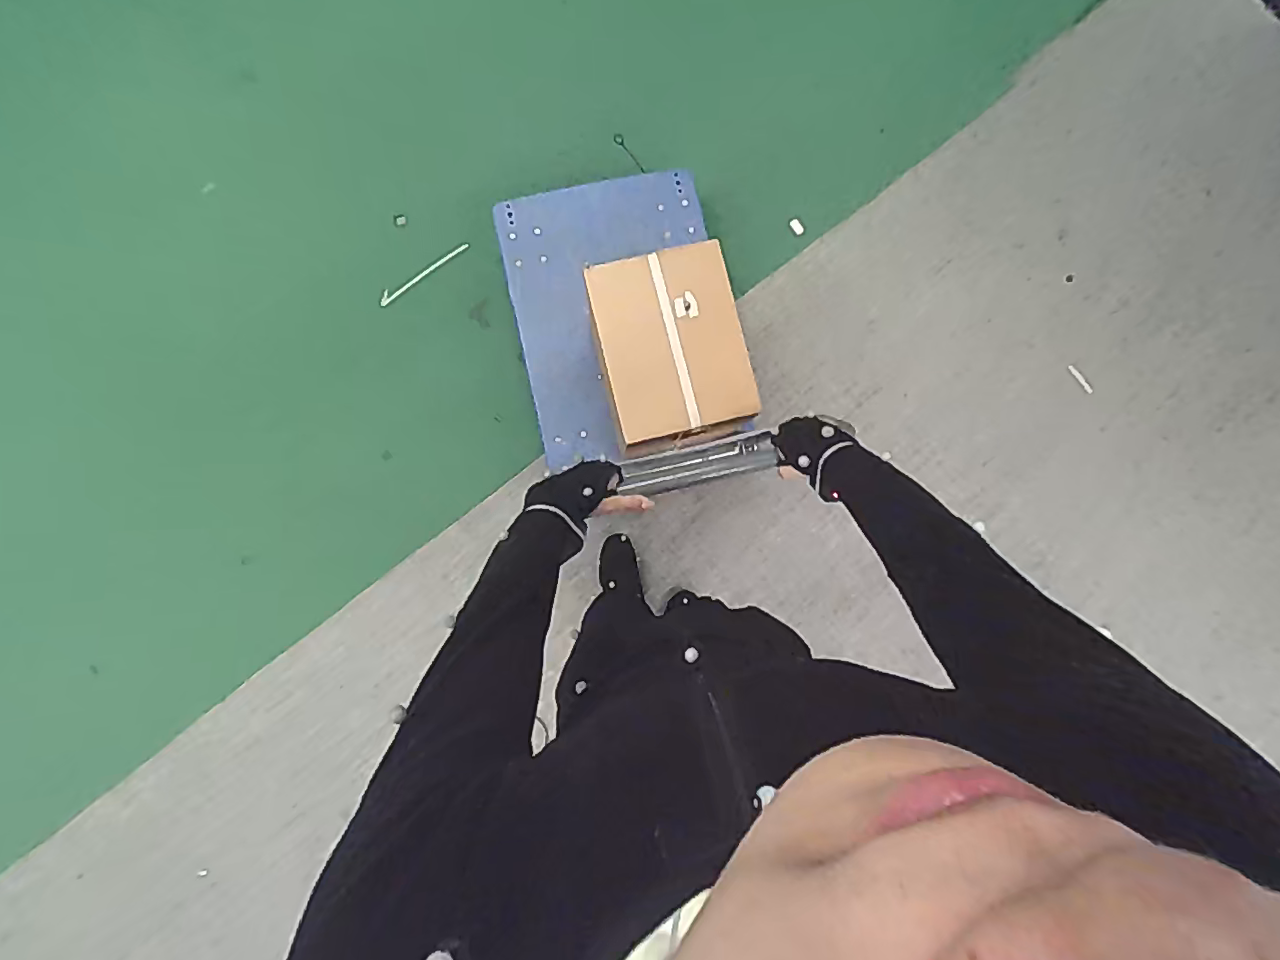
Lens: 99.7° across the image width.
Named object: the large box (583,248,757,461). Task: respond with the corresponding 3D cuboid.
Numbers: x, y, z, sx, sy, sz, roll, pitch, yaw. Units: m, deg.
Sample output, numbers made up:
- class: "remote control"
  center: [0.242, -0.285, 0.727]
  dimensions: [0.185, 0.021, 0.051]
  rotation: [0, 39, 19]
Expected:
- class: "large box"
  center: [0.062, -0.290, 1.354]
  dimensions: [0.320, 0.320, 0.408]
  rotation: [-14, 86, -4]
